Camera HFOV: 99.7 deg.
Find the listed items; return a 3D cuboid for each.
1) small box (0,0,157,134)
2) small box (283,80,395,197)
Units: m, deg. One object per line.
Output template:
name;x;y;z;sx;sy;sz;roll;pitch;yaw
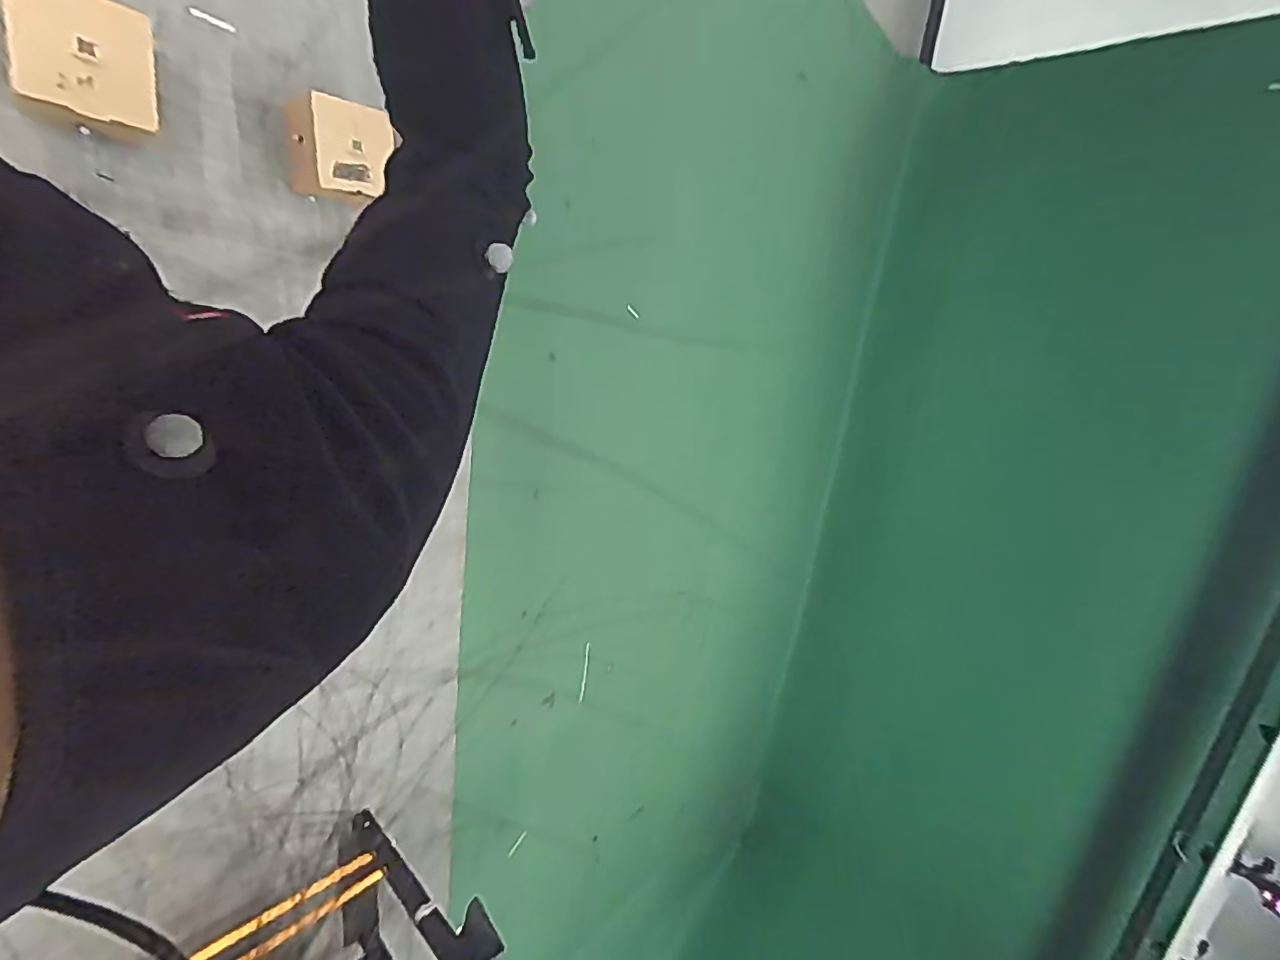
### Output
small box;-0.921;-0.701;0.886;0.168;0.176;0.179;-8;112;-48
small box;-0.662;-0.738;1.193;0.168;0.176;0.179;-16;117;-47
